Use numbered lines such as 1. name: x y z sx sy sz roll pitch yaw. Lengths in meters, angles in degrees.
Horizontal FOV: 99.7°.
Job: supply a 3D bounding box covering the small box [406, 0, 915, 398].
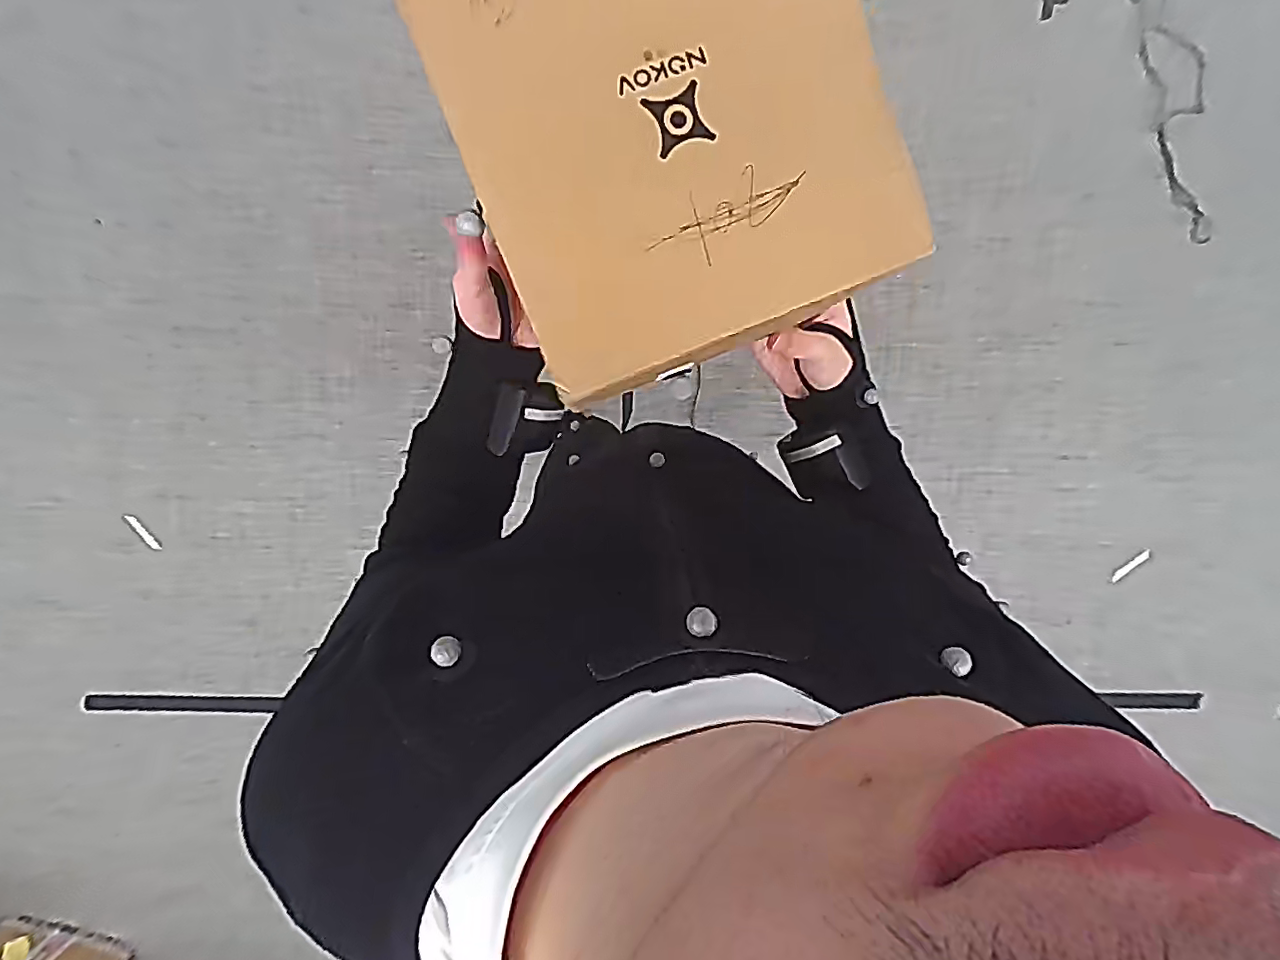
1. small box: 0.005 -0.156 0.298 0.168 0.176 0.179 -24 98 -2
